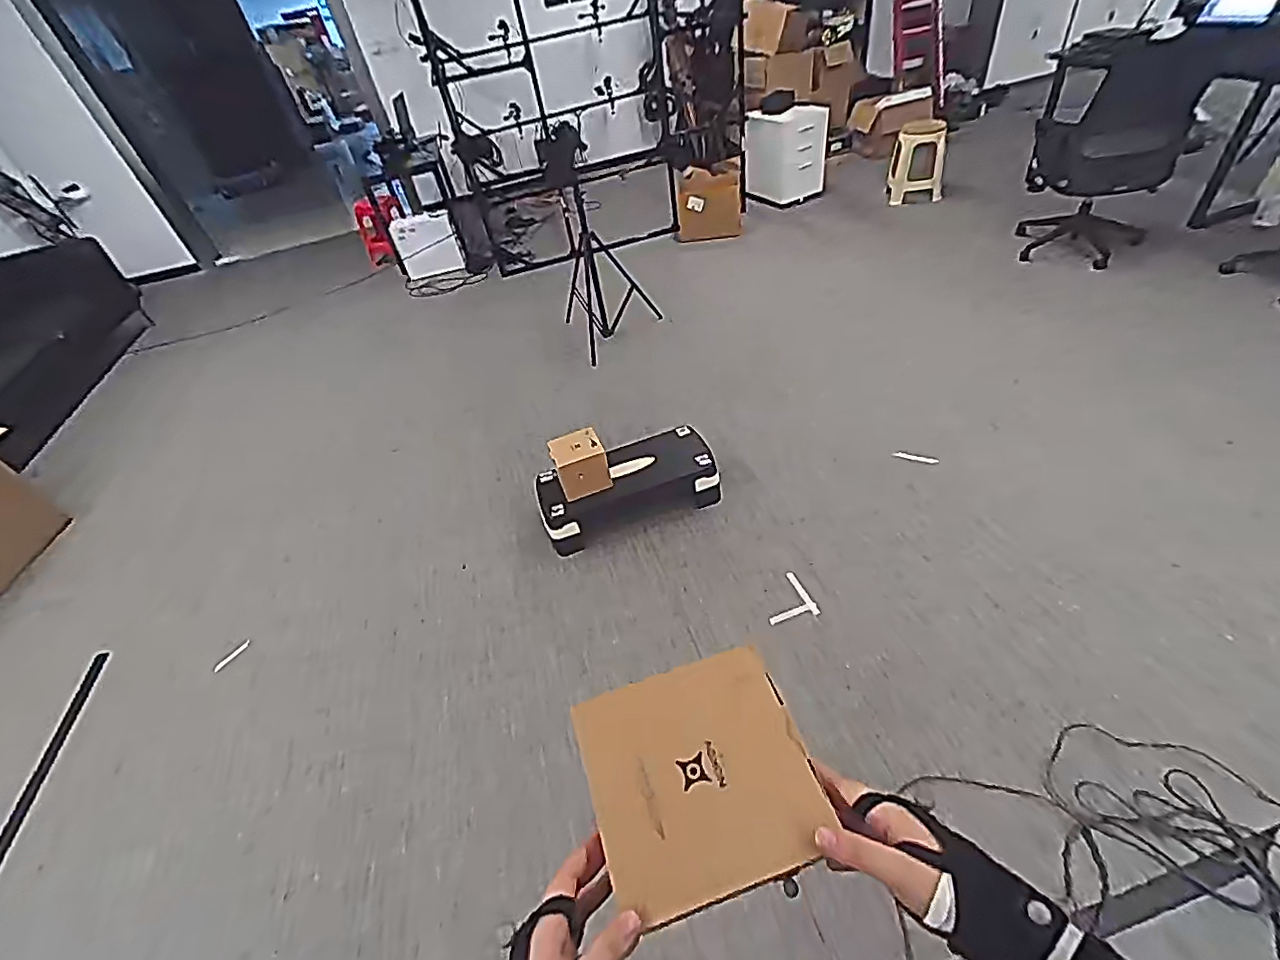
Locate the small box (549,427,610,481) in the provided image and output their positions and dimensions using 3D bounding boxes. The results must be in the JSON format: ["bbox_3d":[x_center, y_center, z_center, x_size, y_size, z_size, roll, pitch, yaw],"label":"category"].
[{"bbox_3d":[-0.216,-0.059,1.957,0.179,0.176,0.168,-21,44,-9],"label":"small box"}]

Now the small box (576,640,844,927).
[{"bbox_3d":[0.056,0.280,0.503,0.179,0.176,0.168,-19,50,-7],"label":"small box"}]

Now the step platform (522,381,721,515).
[{"bbox_3d":[-0.061,-0.116,1.928,0.684,0.204,0.286,-19,42,-8],"label":"step platform"}]
